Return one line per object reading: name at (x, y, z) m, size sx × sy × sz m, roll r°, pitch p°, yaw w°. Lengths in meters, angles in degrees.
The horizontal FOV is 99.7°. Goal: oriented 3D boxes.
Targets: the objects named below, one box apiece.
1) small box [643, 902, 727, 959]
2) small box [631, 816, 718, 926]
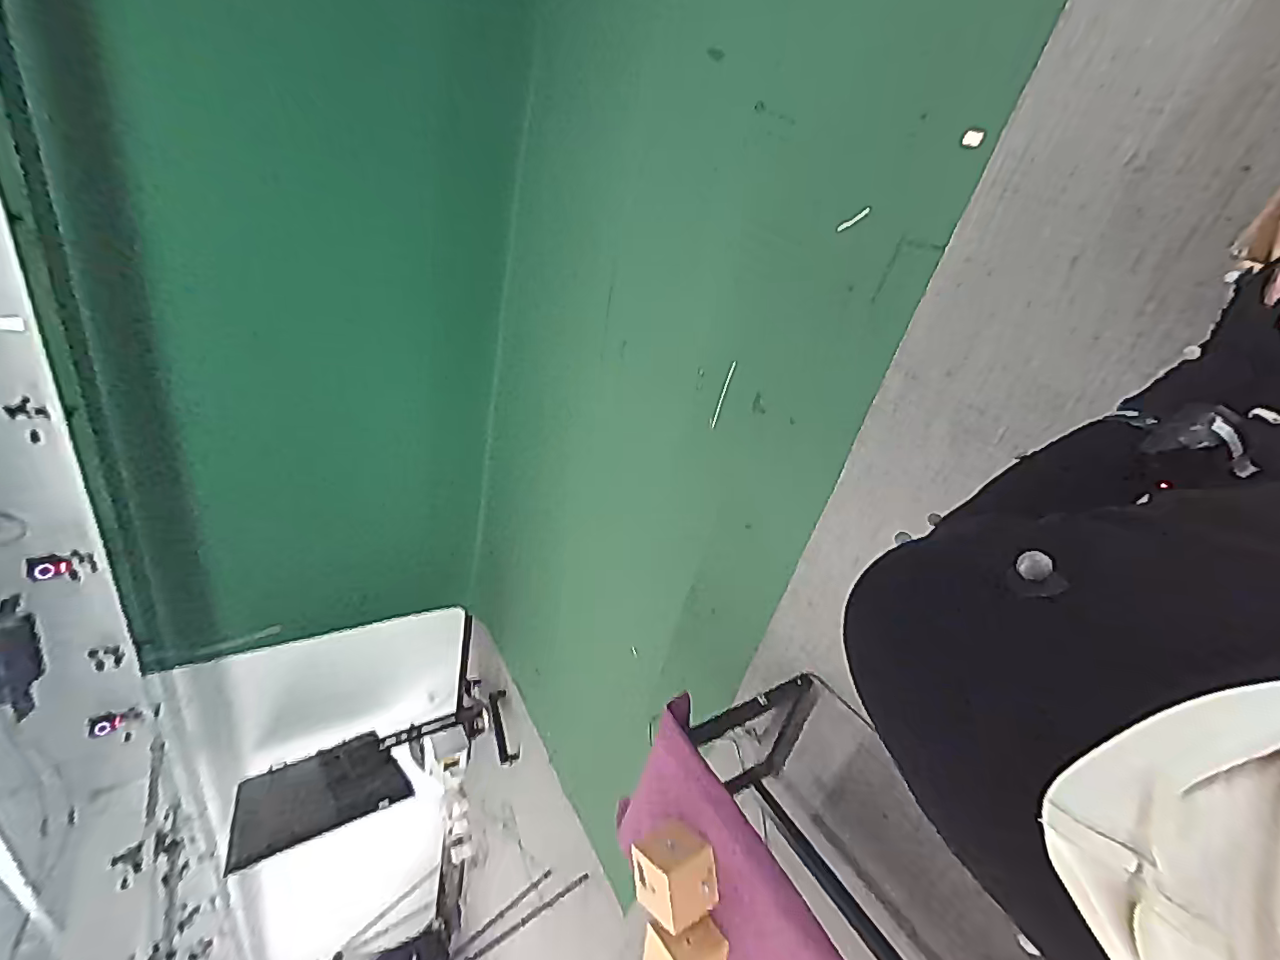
small box at (0.130, 1.334, 1.550) m, size 0.168 × 0.176 × 0.179 m, roll 24°, pitch 116°, yaw 50°
small box at (0.099, 1.103, 1.549) m, size 0.179 × 0.176 × 0.168 m, roll -6°, pitch 92°, yaw 54°
